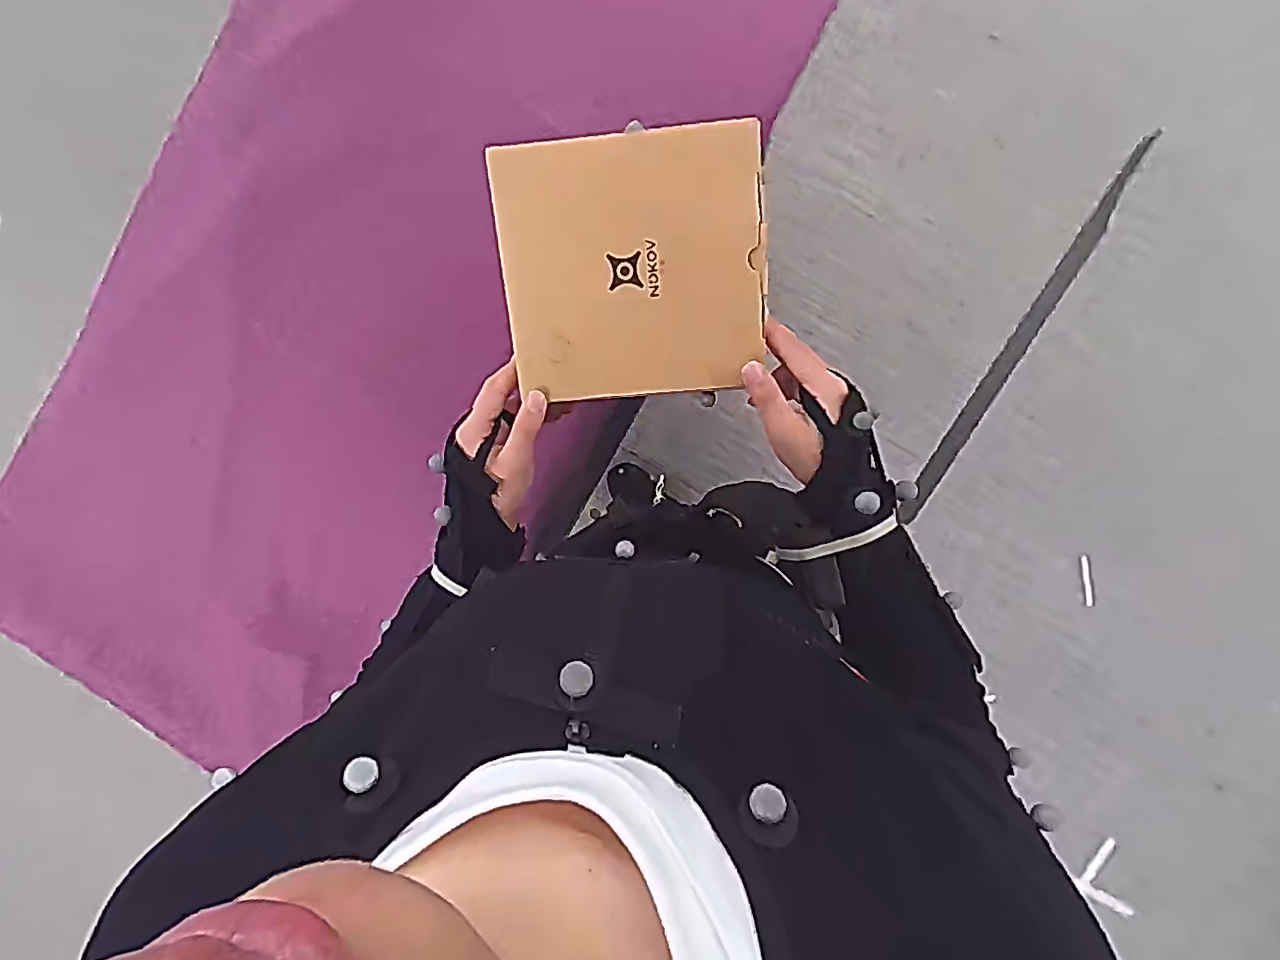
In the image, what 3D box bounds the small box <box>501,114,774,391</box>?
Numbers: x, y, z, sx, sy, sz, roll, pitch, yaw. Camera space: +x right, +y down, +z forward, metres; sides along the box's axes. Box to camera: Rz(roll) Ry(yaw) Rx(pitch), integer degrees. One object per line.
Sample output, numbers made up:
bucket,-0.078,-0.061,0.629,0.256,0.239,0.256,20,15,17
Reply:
small box,0.005,-0.163,0.437,0.179,0.176,0.168,-4,104,3
